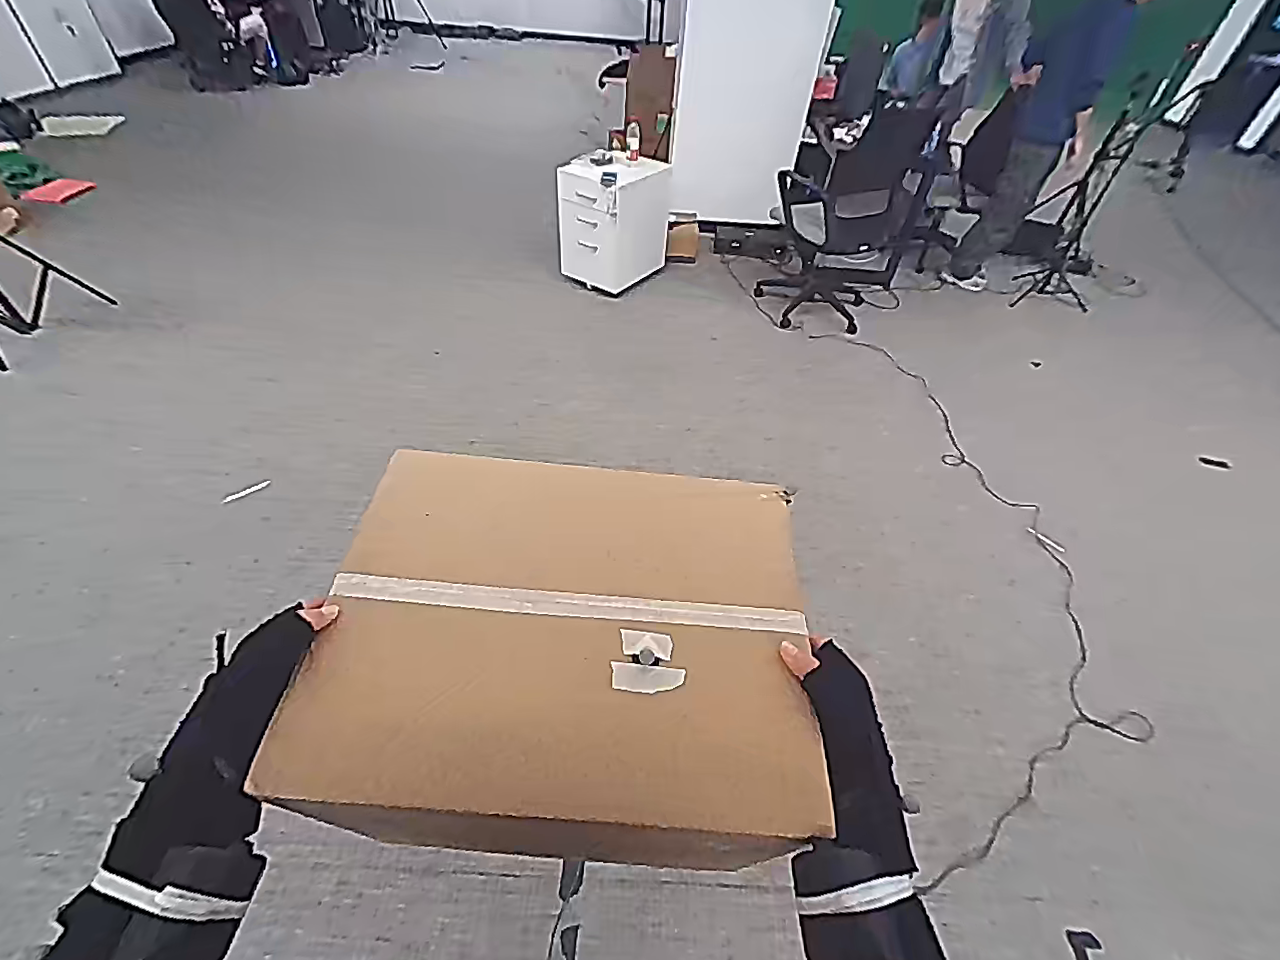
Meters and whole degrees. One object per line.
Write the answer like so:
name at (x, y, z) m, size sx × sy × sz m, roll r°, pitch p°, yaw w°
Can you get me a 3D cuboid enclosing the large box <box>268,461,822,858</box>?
large box at (-0.071, 0.207, 0.590) m, size 0.408 × 0.320 × 0.320 m, roll 6°, pitch 52°, yaw -2°
